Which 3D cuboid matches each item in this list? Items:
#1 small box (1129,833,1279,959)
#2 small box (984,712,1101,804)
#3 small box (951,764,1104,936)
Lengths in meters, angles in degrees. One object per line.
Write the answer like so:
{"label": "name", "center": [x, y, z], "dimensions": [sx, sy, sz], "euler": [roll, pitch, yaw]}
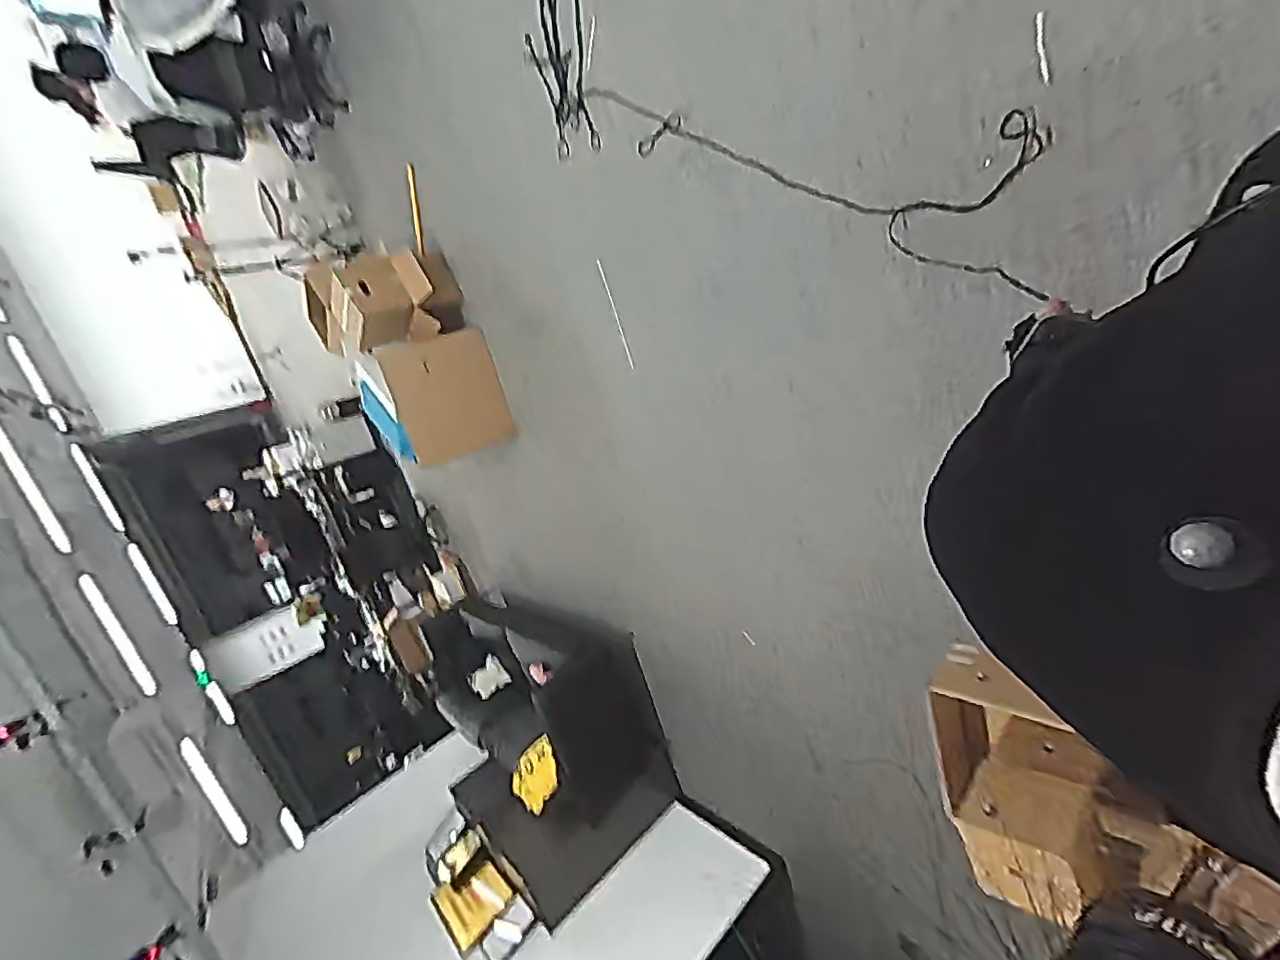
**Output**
{"label": "small box", "center": [0.885, 0.684, 0.809], "dimensions": [0.168, 0.176, 0.179], "euler": [-27, 90, 53]}
{"label": "small box", "center": [0.825, 0.623, 1.118], "dimensions": [0.168, 0.176, 0.179], "euler": [14, 122, 46]}
{"label": "small box", "center": [0.715, 0.663, 0.998], "dimensions": [0.179, 0.176, 0.168], "euler": [-12, 104, 51]}
